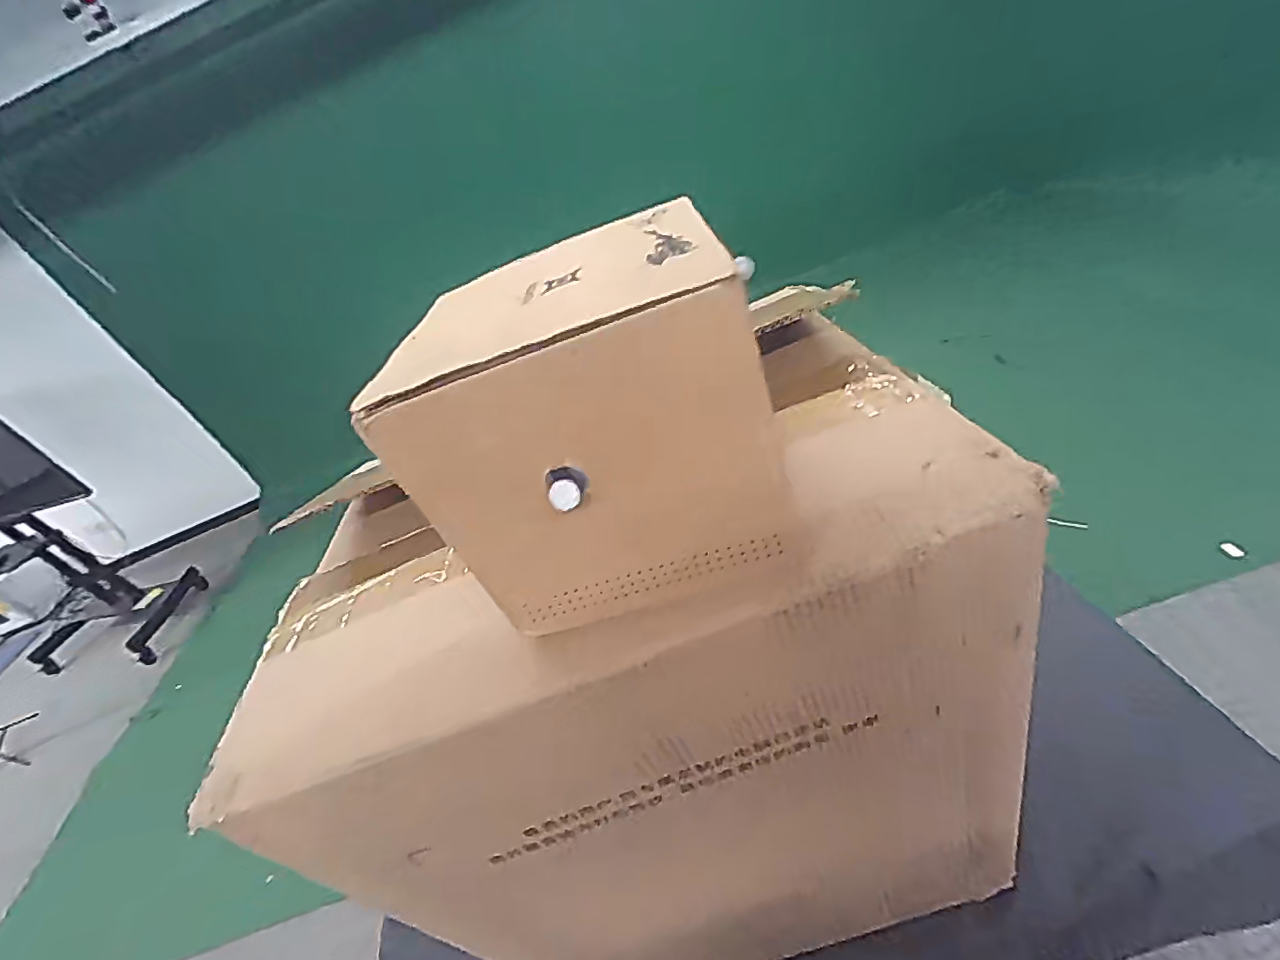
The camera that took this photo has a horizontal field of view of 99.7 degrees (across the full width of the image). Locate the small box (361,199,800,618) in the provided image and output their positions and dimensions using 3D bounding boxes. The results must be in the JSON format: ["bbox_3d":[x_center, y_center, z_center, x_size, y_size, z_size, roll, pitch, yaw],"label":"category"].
[{"bbox_3d":[-0.020,-0.041,0.333,0.179,0.176,0.168,-18,36,9],"label":"small box"}]
